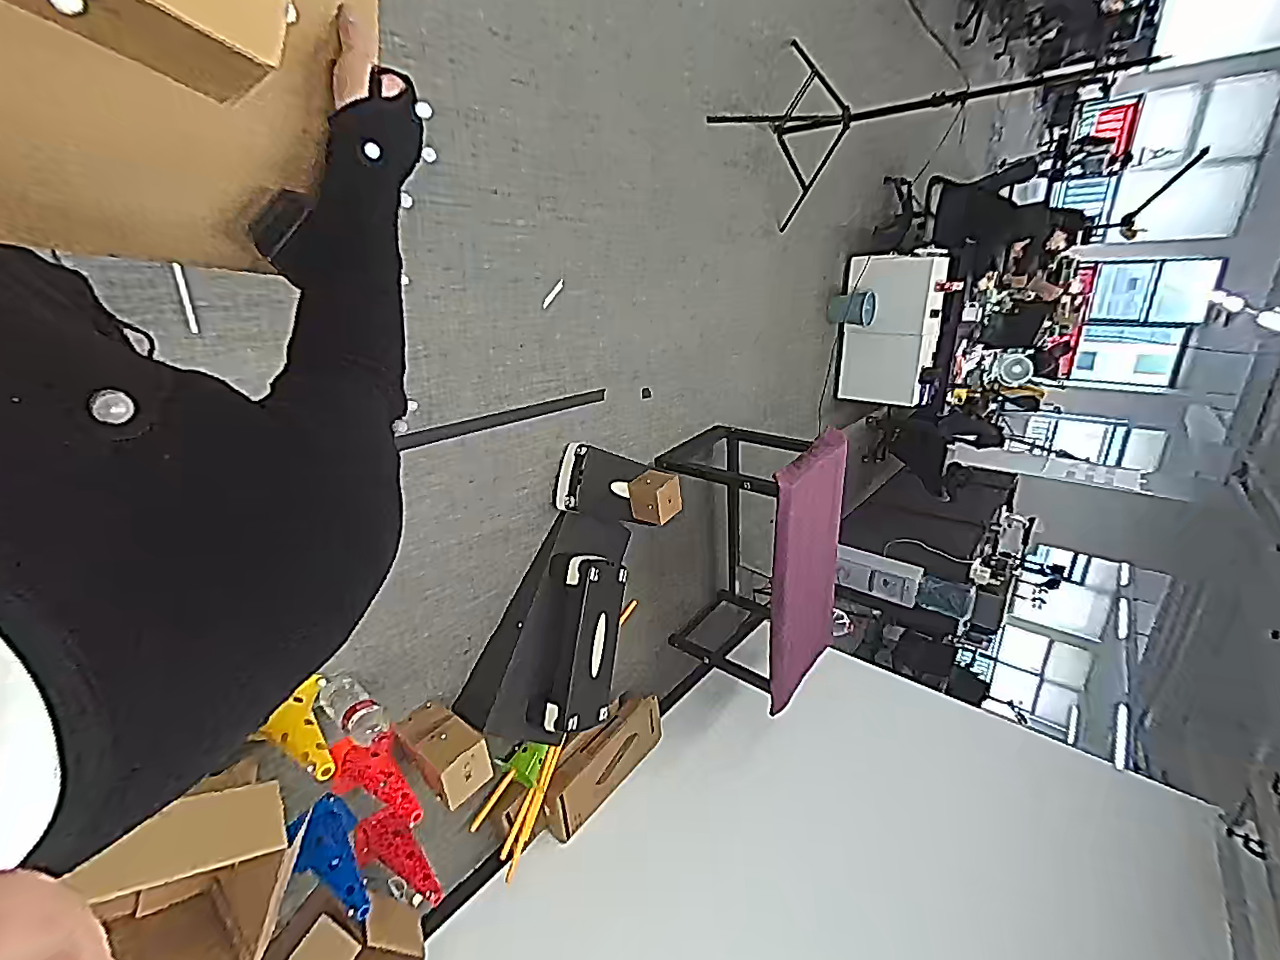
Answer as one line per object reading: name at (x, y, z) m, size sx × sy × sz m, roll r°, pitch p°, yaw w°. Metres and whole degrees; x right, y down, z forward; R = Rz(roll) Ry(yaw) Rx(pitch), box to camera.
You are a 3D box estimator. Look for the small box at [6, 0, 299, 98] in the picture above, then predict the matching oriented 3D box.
small box at (-0.328, -0.376, 0.339) m, size 0.179 × 0.176 × 0.168 m, roll 7°, pitch 103°, yaw -46°
